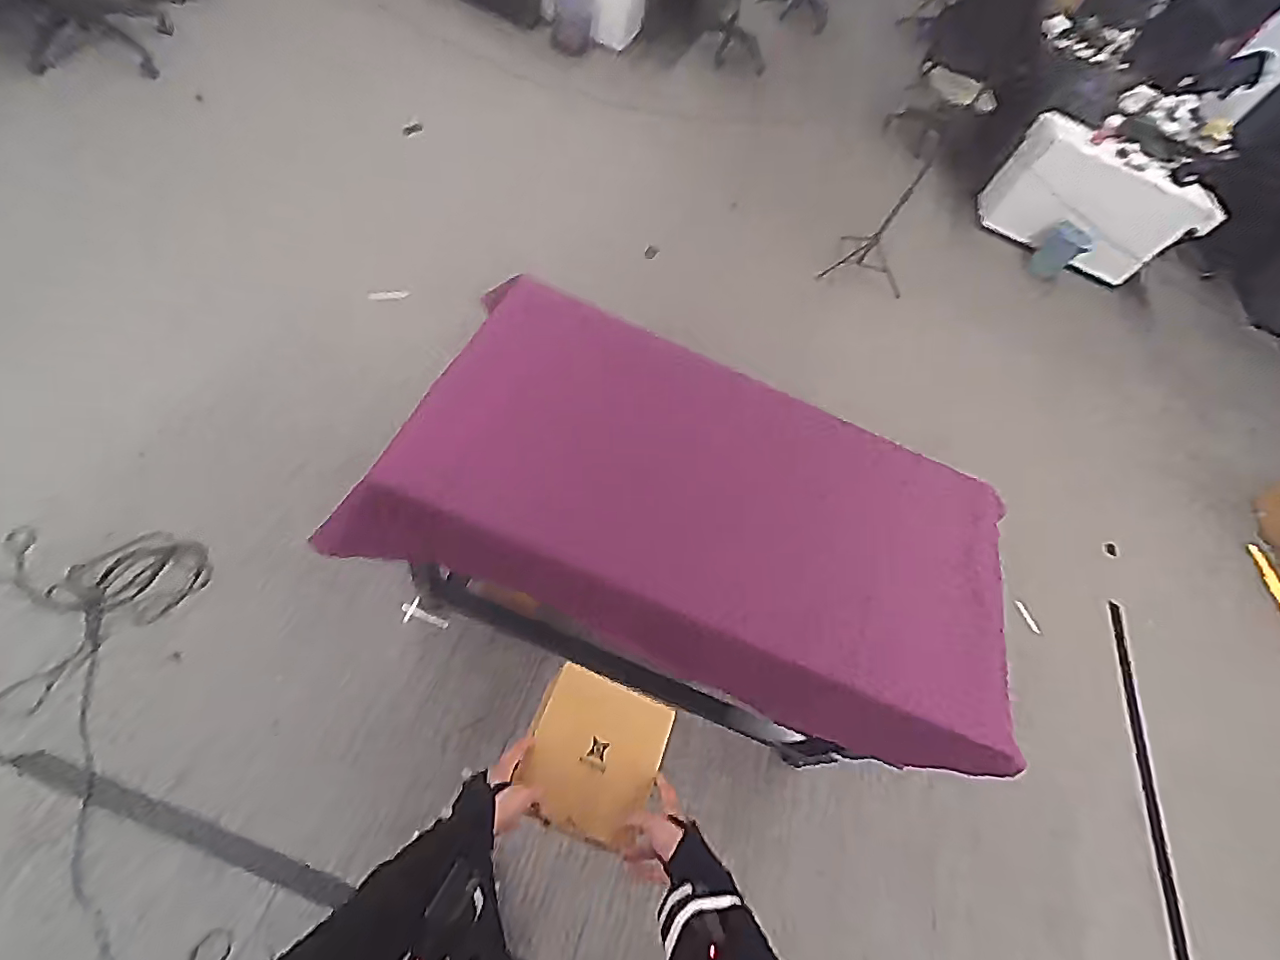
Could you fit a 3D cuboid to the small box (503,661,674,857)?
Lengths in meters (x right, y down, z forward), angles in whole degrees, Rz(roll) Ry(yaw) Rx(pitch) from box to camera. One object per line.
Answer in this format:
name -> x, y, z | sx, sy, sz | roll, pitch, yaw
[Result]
small box -> -0.077, 0.379, 0.740 | 0.168, 0.176, 0.179 | 25, 57, -2
